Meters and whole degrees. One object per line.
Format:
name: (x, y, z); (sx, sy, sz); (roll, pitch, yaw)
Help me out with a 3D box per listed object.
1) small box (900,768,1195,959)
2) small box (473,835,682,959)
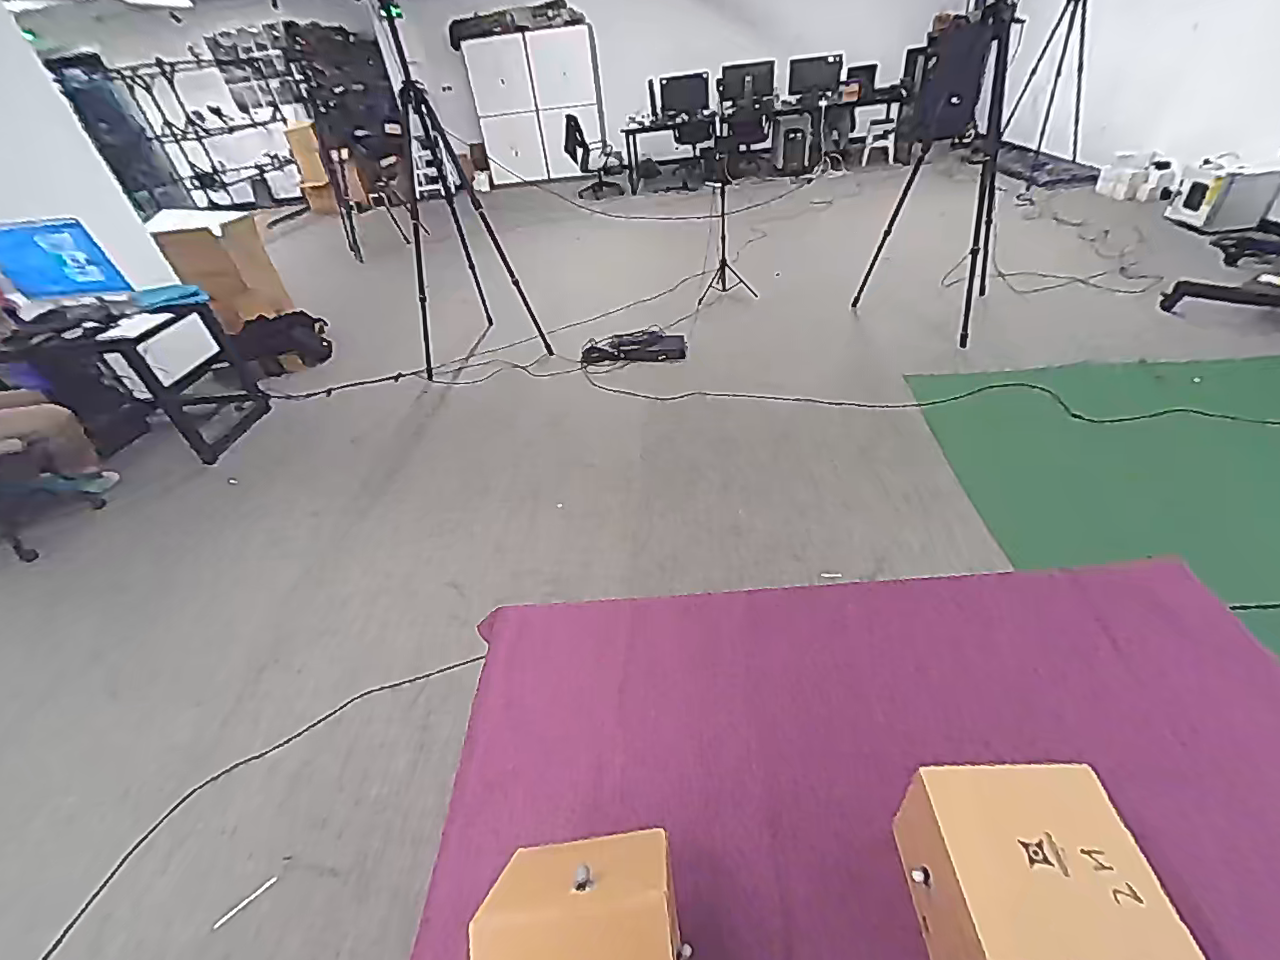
small box: (0.389, 0.422, 0.564); (0.179, 0.176, 0.168); (-3, 39, 6)
small box: (-0.049, 0.471, 0.524); (0.179, 0.176, 0.168); (-8, 73, -2)
